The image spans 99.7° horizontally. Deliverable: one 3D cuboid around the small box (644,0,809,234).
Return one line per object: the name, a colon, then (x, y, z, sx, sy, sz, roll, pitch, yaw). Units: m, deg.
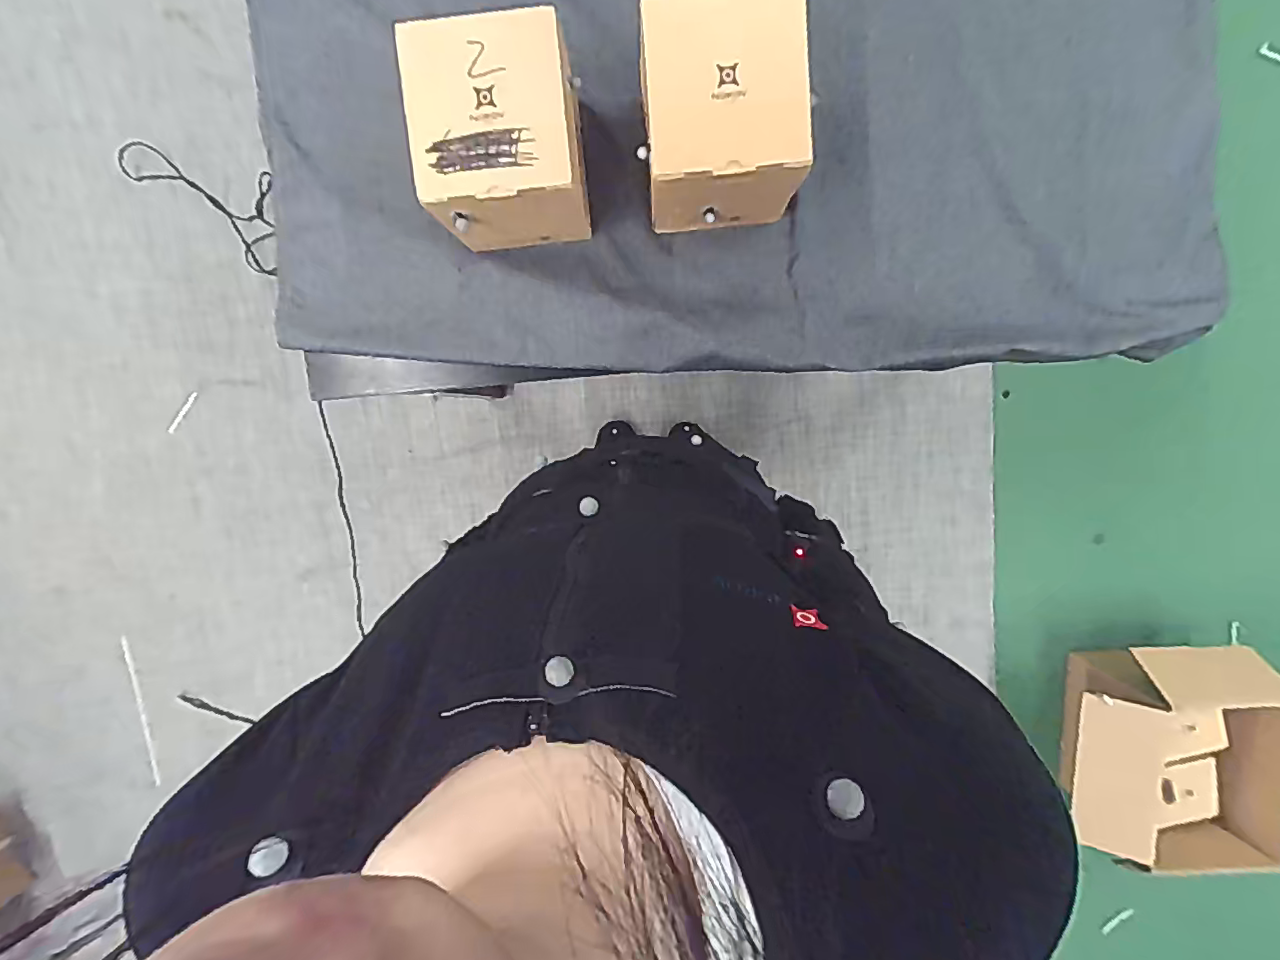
small box: (0.092, -0.414, 0.641, 0.168, 0.176, 0.179, -5, 98, 2)
